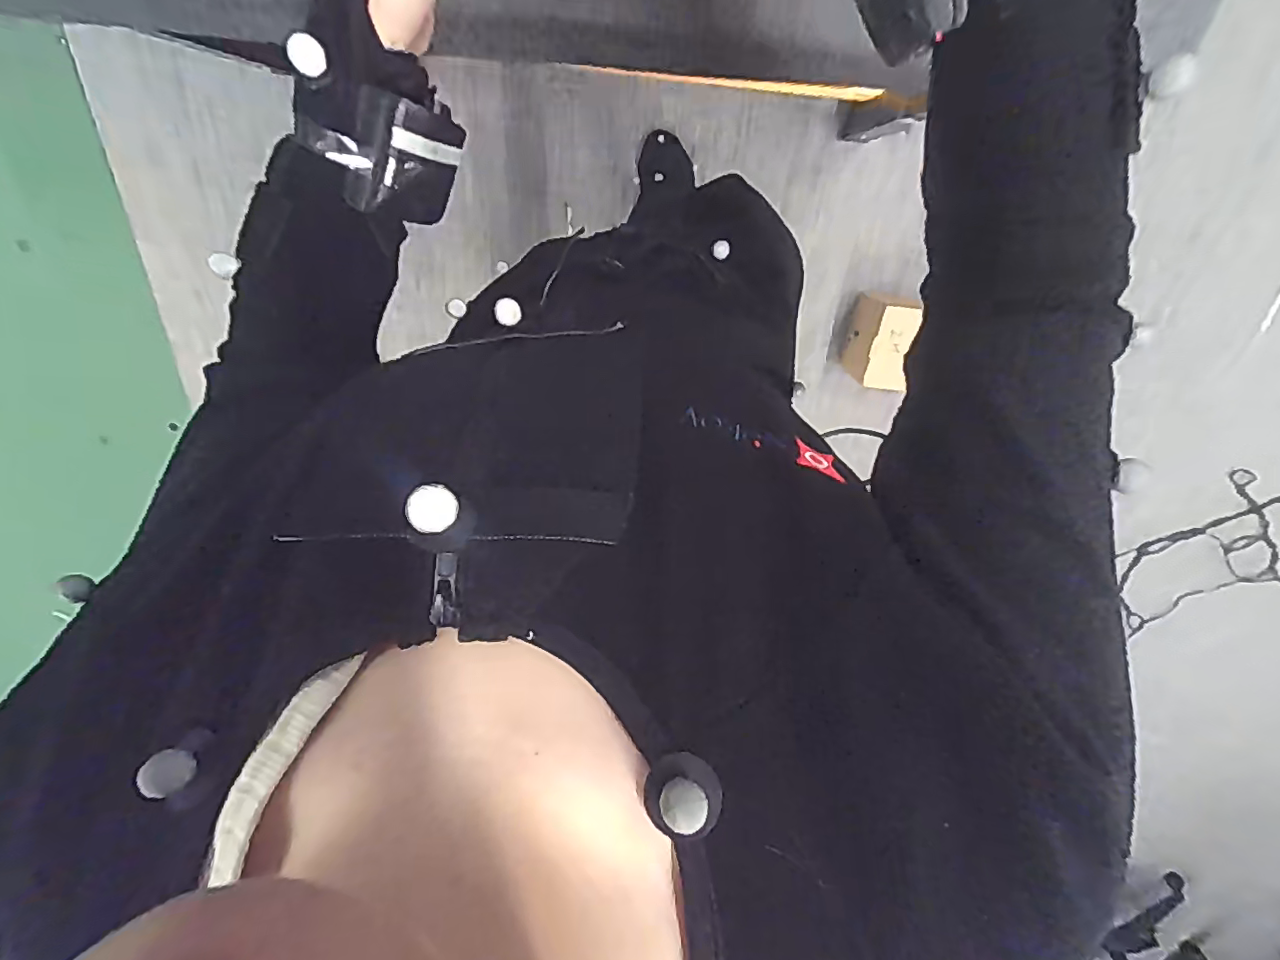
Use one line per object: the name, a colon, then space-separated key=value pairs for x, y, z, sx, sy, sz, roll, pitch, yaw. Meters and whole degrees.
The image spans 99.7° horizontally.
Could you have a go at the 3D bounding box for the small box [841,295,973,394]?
small box: x=0.558 y=-0.295 z=1.156 sx=0.179 sy=0.176 sz=0.168 roll=6 pitch=116 yaw=0
